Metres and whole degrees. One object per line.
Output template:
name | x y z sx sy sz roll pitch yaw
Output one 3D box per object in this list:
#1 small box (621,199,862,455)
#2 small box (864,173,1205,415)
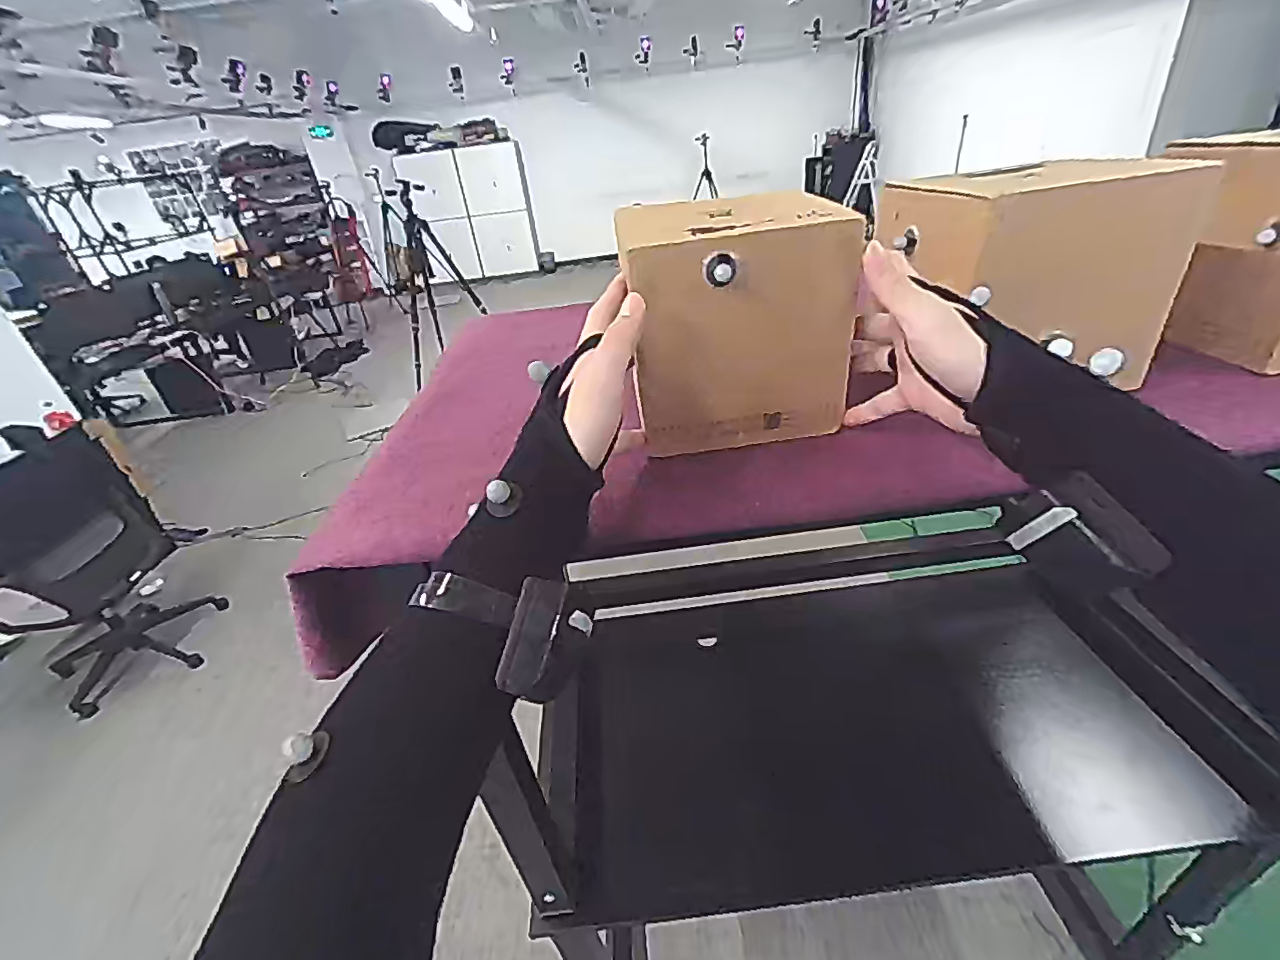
small box | 0.075 -0.141 0.484 0.168 0.176 0.179 -8 33 0
small box | 0.323 -0.174 0.495 0.168 0.176 0.179 -7 32 1
